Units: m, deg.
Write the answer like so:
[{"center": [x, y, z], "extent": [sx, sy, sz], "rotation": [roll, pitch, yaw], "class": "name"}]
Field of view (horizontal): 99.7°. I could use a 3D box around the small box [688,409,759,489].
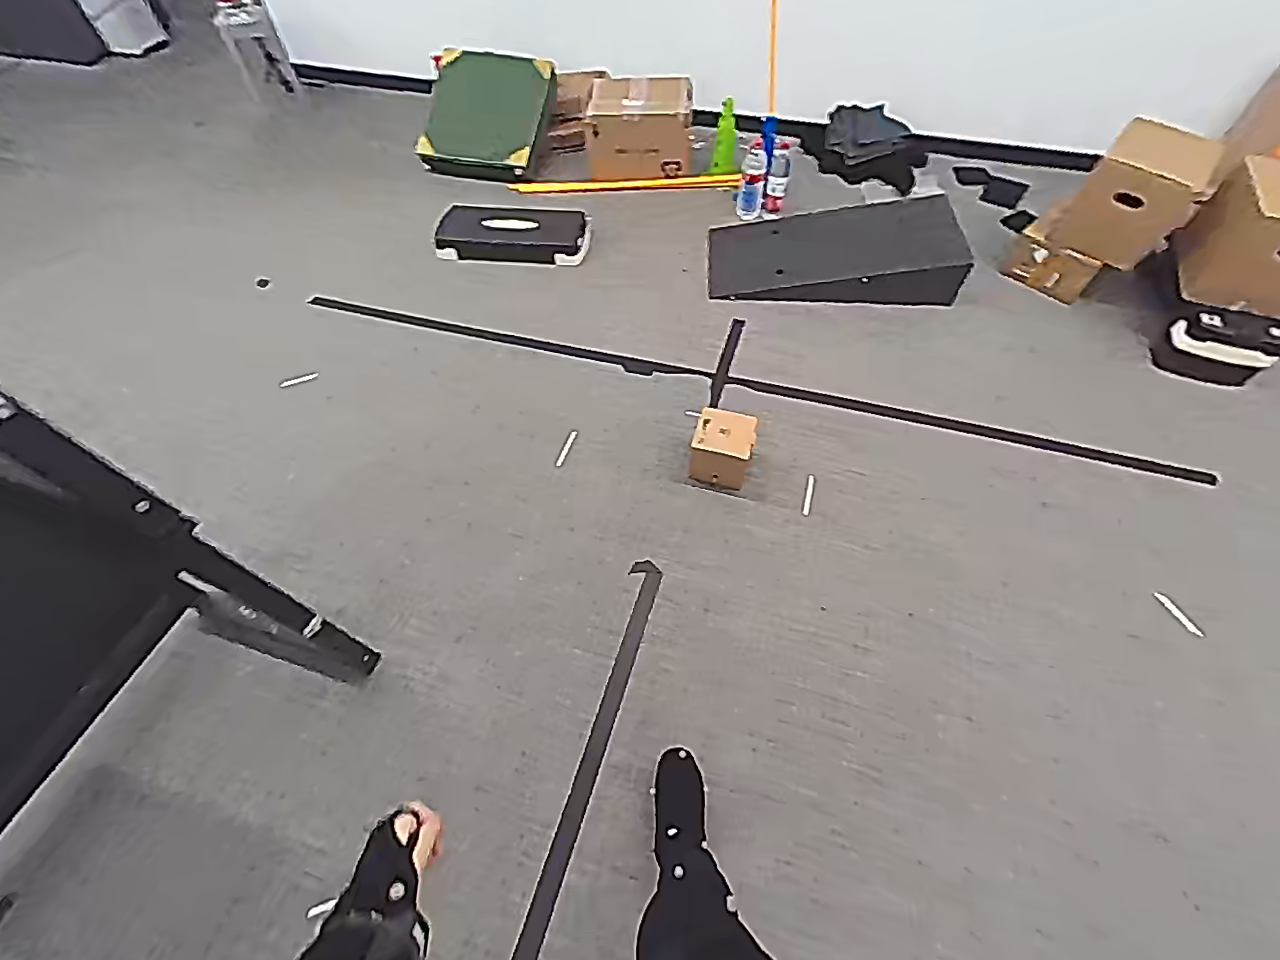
[{"center": [0.258, -0.091, 1.691], "extent": [0.179, 0.176, 0.168], "rotation": [15, 58, 10], "class": "small box"}]
